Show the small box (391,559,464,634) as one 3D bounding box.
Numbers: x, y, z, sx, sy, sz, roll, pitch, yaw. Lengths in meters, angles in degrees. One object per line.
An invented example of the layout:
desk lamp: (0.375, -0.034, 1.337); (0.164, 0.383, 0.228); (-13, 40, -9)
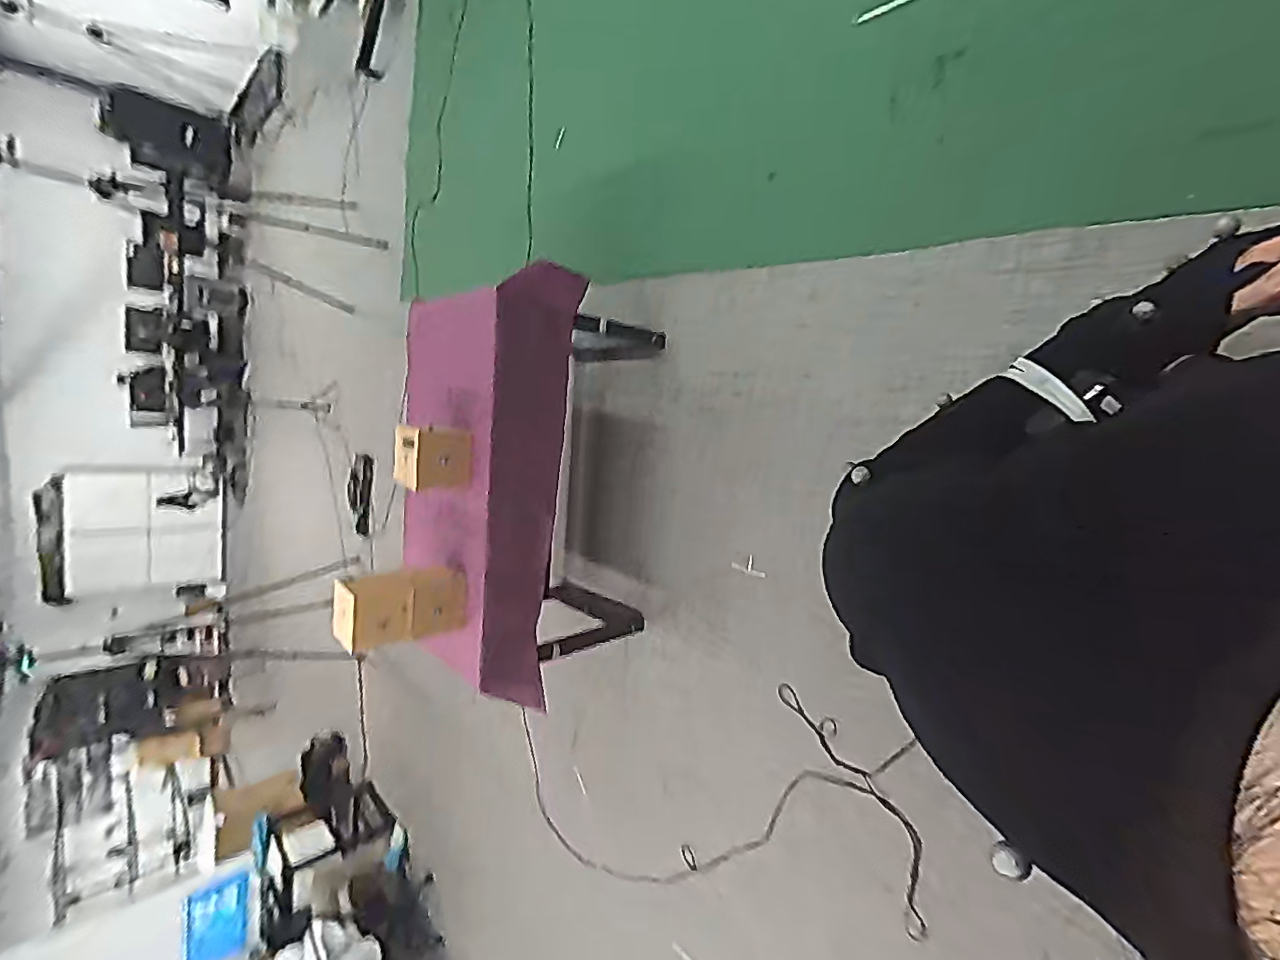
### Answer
small box: (-0.665, 0.353, 1.685); (0.168, 0.176, 0.179); (12, 100, 44)

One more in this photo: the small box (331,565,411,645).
small box: (-0.781, 0.353, 1.570); (0.179, 0.176, 0.168); (14, 101, 45)
